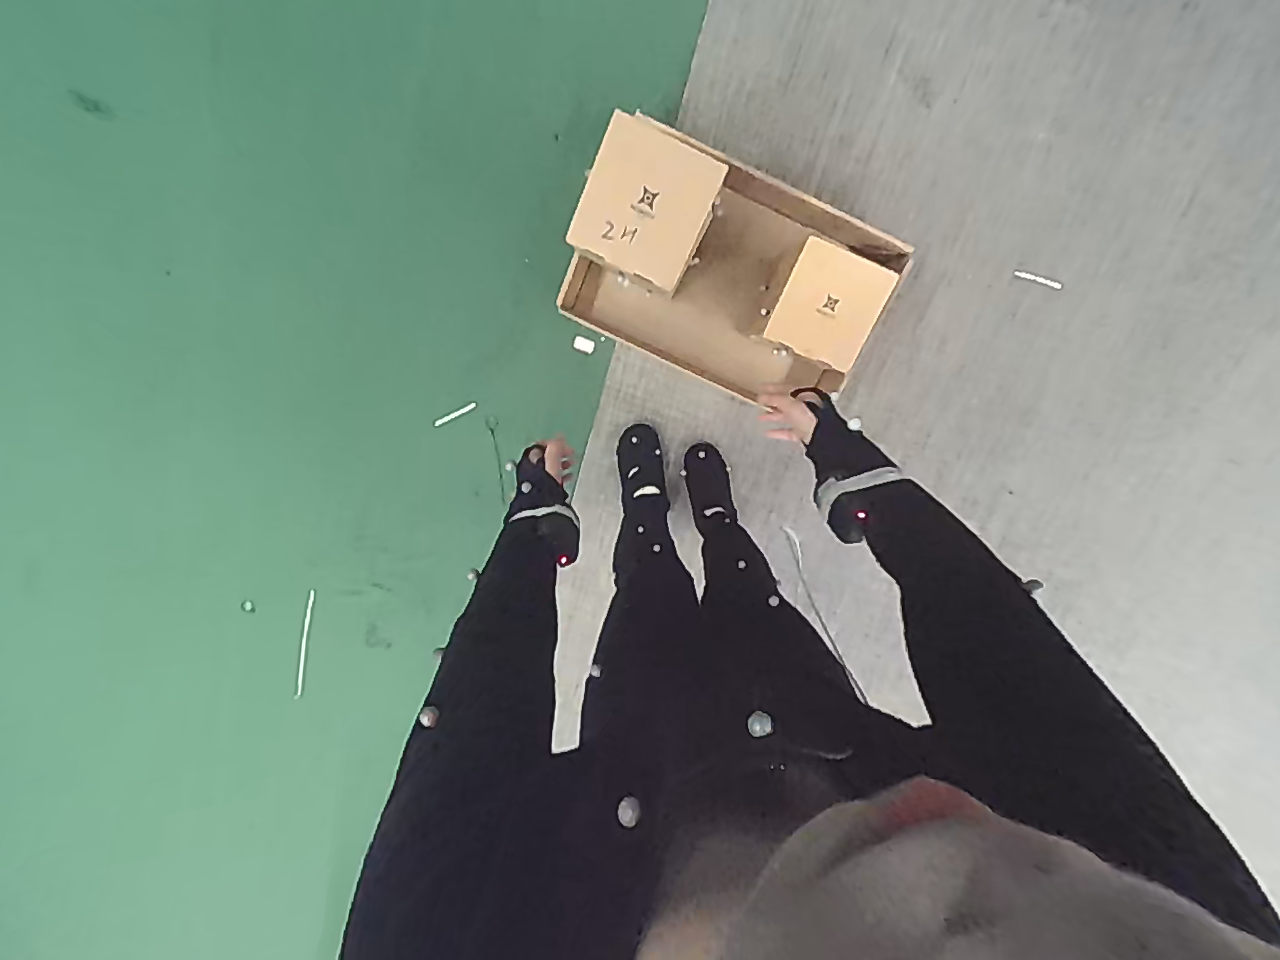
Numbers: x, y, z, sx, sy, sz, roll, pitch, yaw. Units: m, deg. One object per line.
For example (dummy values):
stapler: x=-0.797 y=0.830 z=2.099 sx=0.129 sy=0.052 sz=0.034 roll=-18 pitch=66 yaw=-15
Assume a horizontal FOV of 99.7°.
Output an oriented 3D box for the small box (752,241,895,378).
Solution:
small box: x=0.316 y=-0.304 z=0.977 sx=0.168 sy=0.176 sz=0.179 roll=23 pitch=107 yaw=-3

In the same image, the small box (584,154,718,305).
small box: x=0.017 y=-0.430 z=0.959 sx=0.168 sy=0.176 sz=0.179 roll=27 pitch=106 yaw=-6
